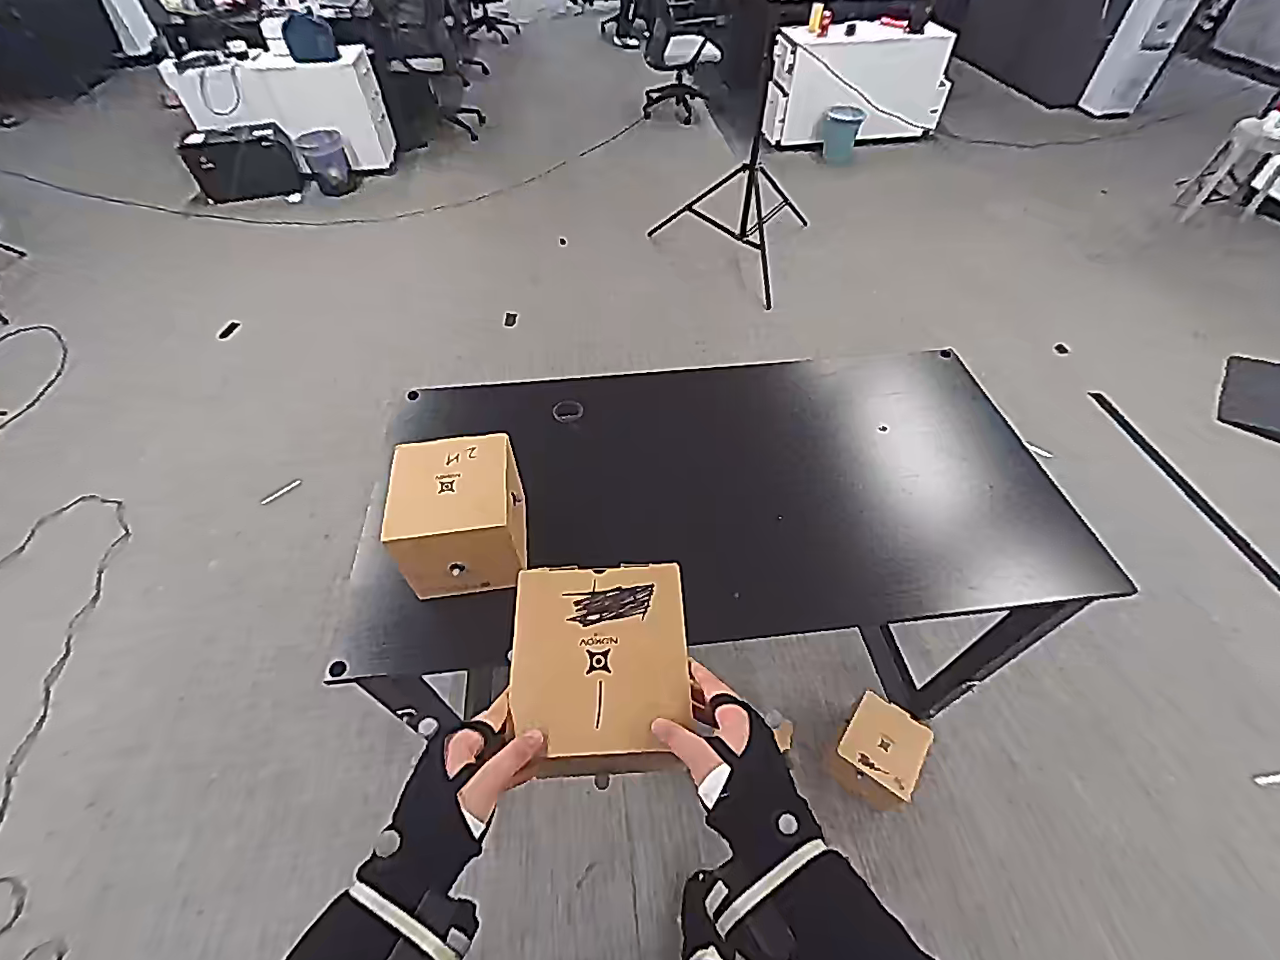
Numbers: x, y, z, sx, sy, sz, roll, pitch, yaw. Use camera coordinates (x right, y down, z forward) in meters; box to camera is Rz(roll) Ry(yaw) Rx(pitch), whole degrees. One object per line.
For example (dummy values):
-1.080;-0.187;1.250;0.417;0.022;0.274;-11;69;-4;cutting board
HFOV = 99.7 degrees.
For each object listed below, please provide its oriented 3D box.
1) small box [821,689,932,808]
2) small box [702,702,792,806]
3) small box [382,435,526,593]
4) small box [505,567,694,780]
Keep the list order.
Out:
0.552;0.639;1.283;0.168;0.176;0.179;30;57;23;small box
0.249;0.652;1.279;0.179;0.176;0.168;10;51;10;small box
-0.270;0.059;0.825;0.168;0.176;0.179;-7;51;-6;small box
-0.038;0.208;0.573;0.168;0.176;0.179;-3;57;-1;small box
